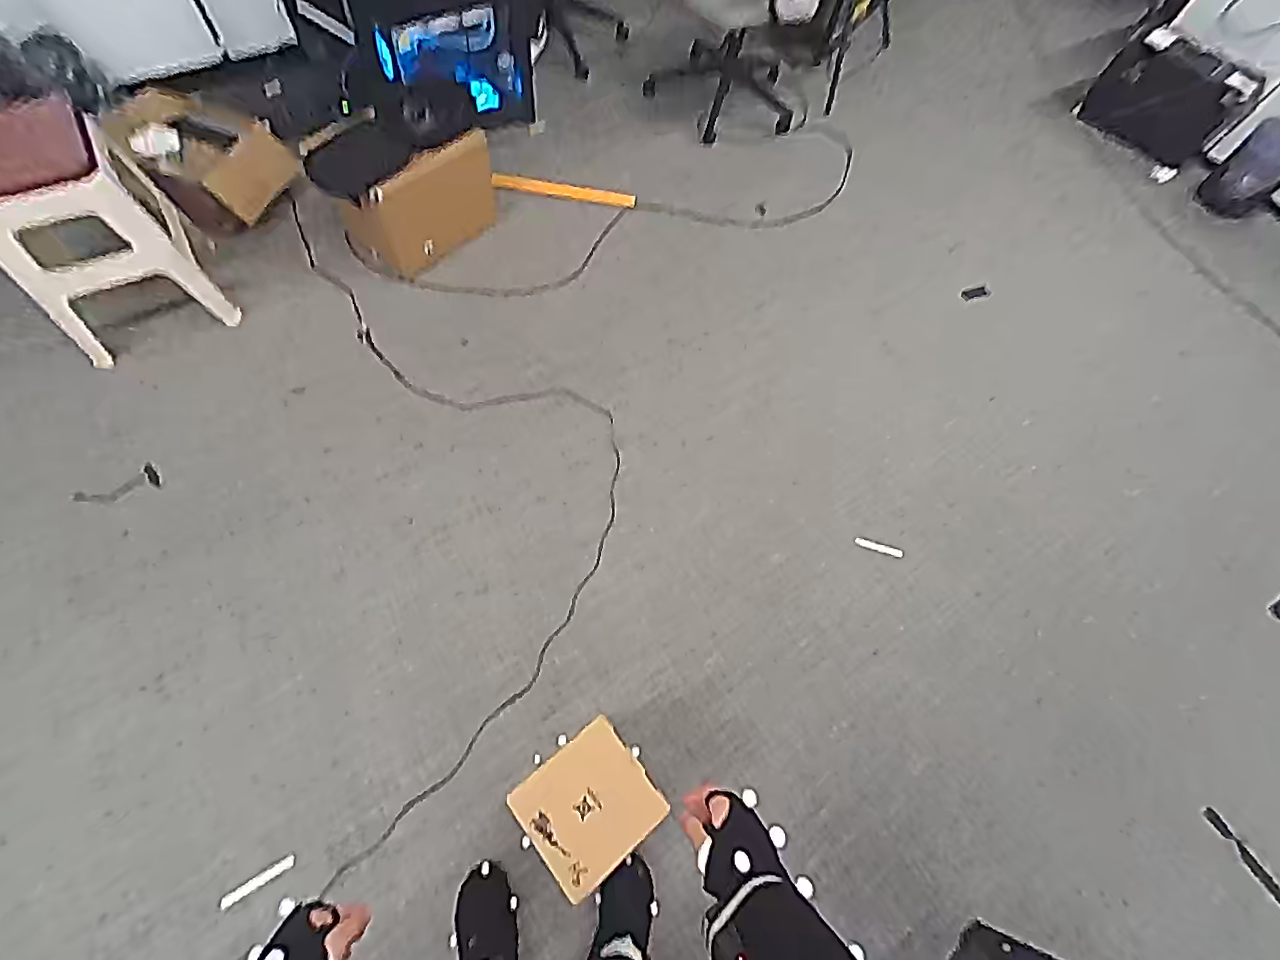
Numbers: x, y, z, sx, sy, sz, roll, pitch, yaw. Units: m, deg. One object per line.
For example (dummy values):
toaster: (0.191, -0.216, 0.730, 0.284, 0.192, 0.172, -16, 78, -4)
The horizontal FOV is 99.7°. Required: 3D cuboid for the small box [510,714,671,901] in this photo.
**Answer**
small box: (-0.079, 0.492, 0.840, 0.179, 0.176, 0.168, -35, 72, -21)
